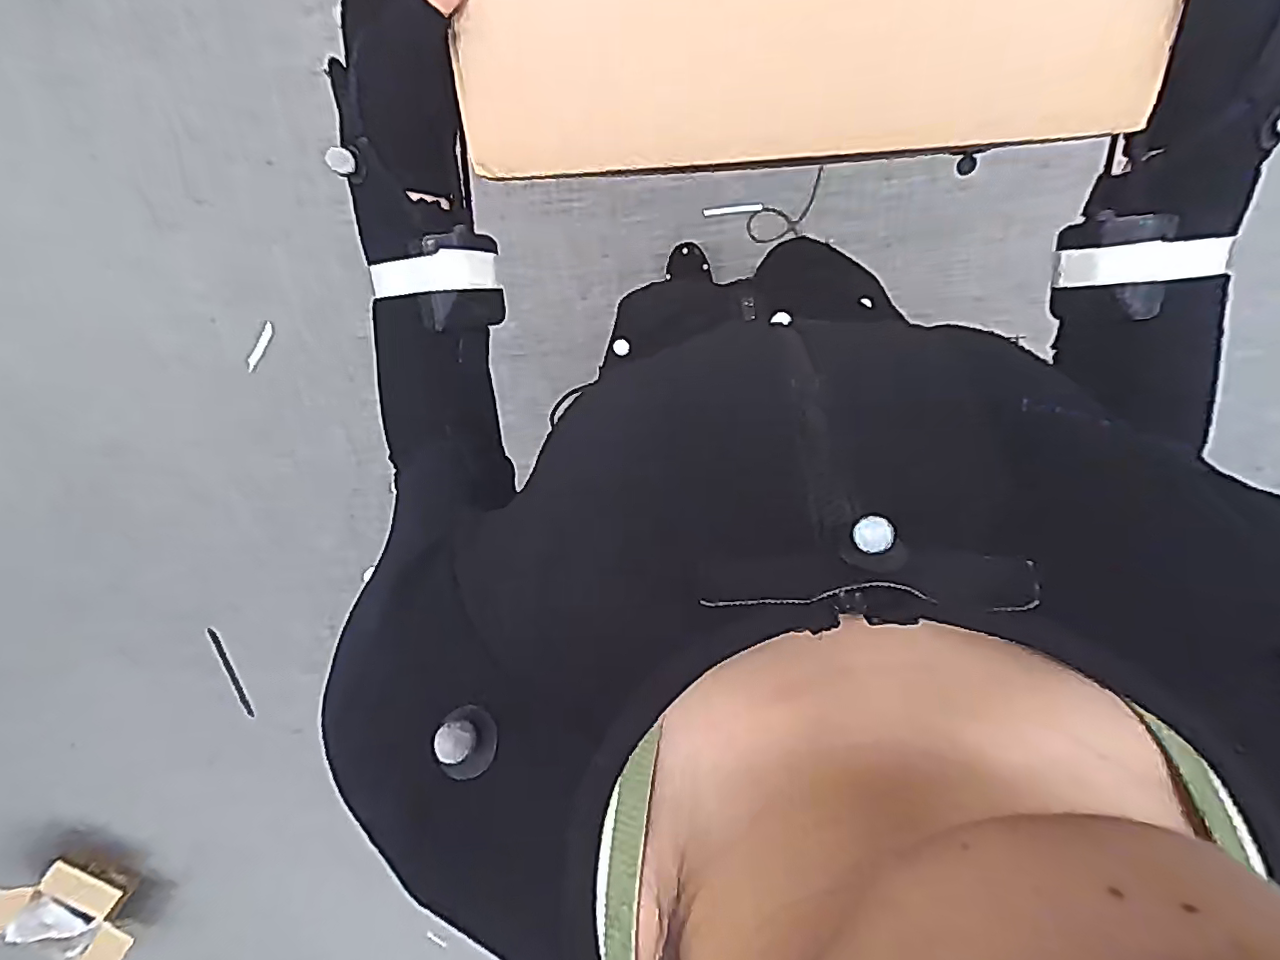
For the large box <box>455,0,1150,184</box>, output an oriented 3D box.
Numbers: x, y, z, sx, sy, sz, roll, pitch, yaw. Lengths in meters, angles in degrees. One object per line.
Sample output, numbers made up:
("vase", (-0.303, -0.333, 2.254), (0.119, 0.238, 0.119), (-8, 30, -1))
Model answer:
("large box", (0.094, -0.416, 0.404), (0.408, 0.320, 0.320), (-1, 118, 5))
